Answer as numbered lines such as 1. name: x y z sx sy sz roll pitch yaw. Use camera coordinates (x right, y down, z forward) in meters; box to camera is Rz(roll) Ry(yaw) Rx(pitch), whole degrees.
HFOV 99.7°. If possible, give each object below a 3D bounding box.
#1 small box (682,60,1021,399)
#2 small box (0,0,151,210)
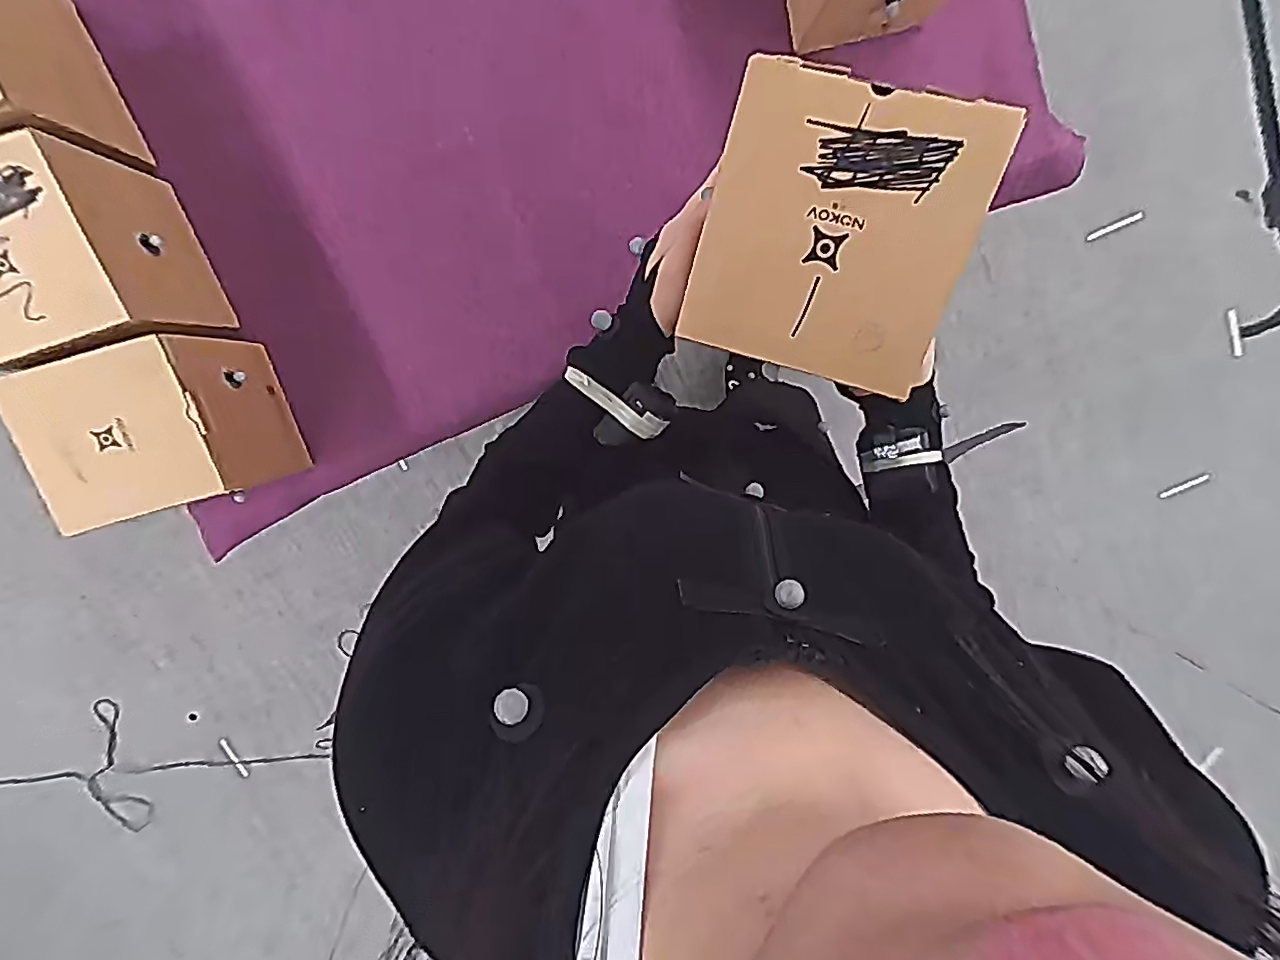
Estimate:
1. small box: 0.143 -0.178 0.425 0.168 0.176 0.179 17 108 8
2. small box: -0.656 -0.396 0.528 0.168 0.176 0.179 -20 104 1
